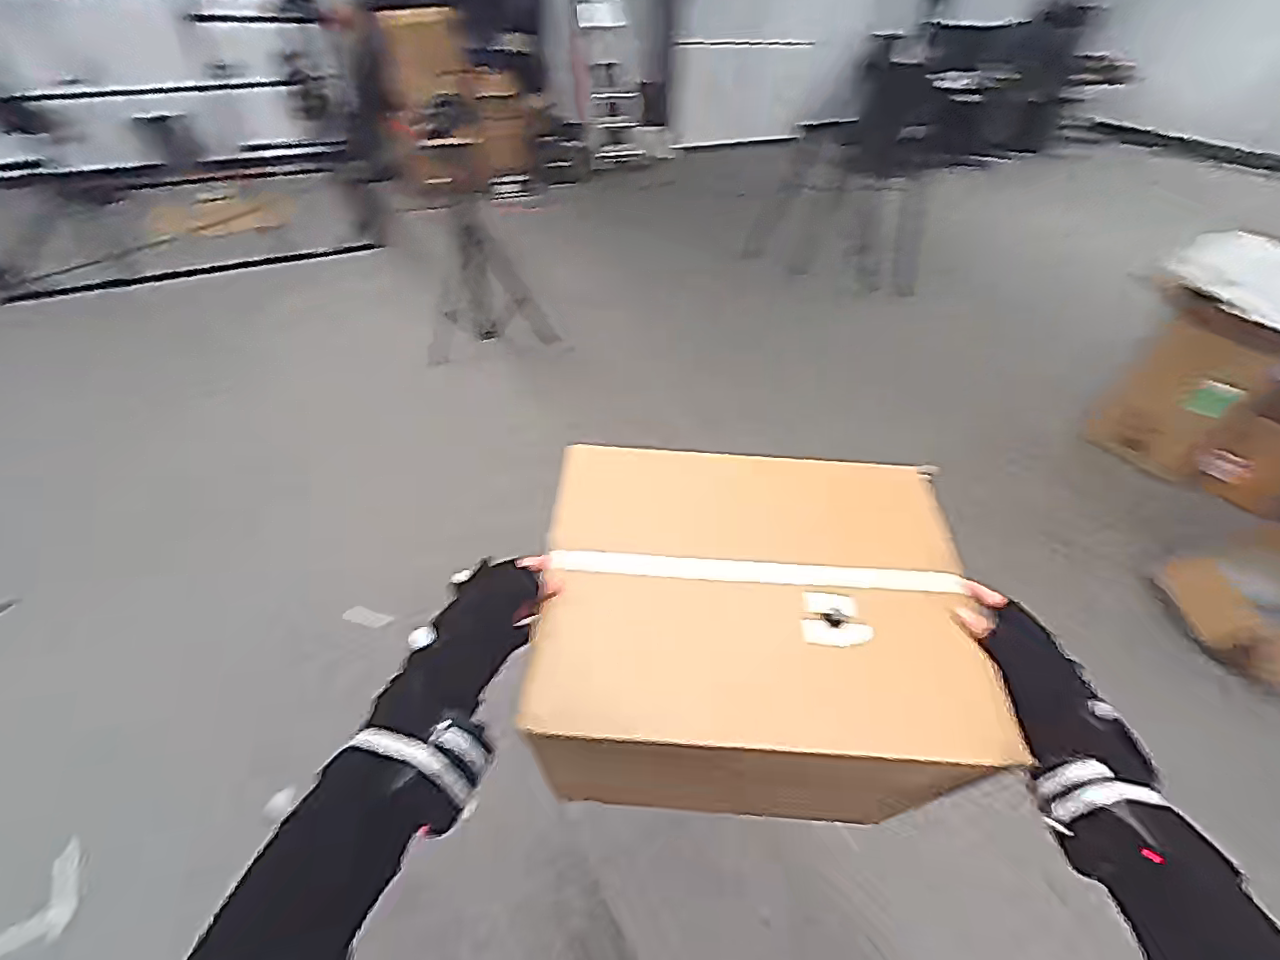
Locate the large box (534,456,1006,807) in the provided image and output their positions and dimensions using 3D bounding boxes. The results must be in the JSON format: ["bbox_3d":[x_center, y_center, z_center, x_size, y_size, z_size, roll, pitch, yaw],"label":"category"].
[{"bbox_3d":[0.106,0.191,0.654,0.408,0.320,0.320,3,51,0],"label":"large box"}]
